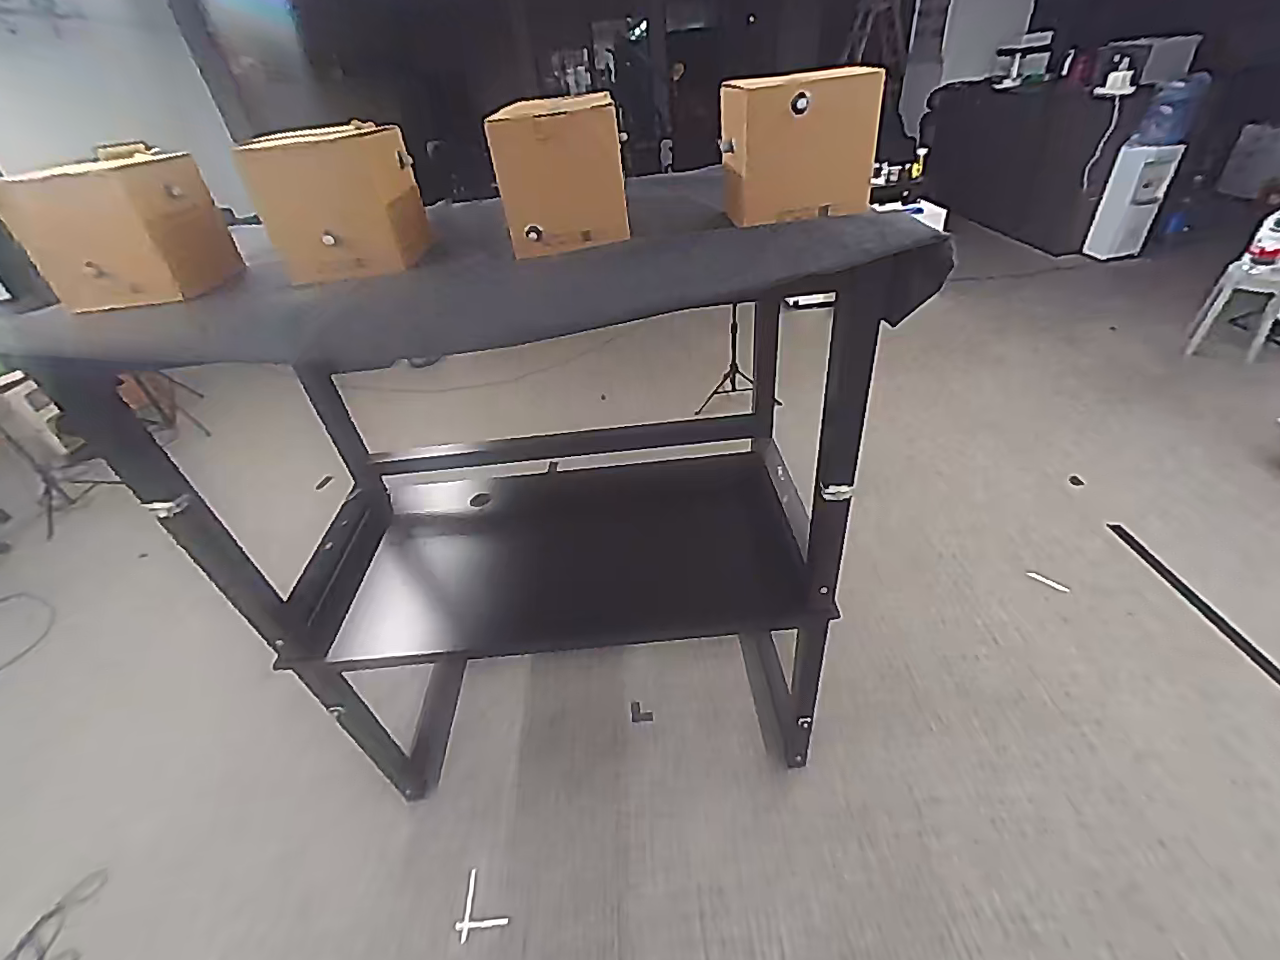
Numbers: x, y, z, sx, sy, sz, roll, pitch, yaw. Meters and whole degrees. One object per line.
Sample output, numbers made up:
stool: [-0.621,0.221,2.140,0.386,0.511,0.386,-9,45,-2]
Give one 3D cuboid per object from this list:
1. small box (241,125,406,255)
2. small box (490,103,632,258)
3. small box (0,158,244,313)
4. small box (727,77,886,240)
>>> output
small box: [-0.541,-0.514,0.960,0.179,0.176,0.168,-7,38,-1]
small box: [-0.104,-0.430,0.784,0.168,0.176,0.179,-7,37,0]
small box: [-0.723,-0.354,0.781,0.168,0.176,0.179,-7,37,-1]
small box: [0.213,-0.444,0.749,0.168,0.176,0.179,-7,37,2]
